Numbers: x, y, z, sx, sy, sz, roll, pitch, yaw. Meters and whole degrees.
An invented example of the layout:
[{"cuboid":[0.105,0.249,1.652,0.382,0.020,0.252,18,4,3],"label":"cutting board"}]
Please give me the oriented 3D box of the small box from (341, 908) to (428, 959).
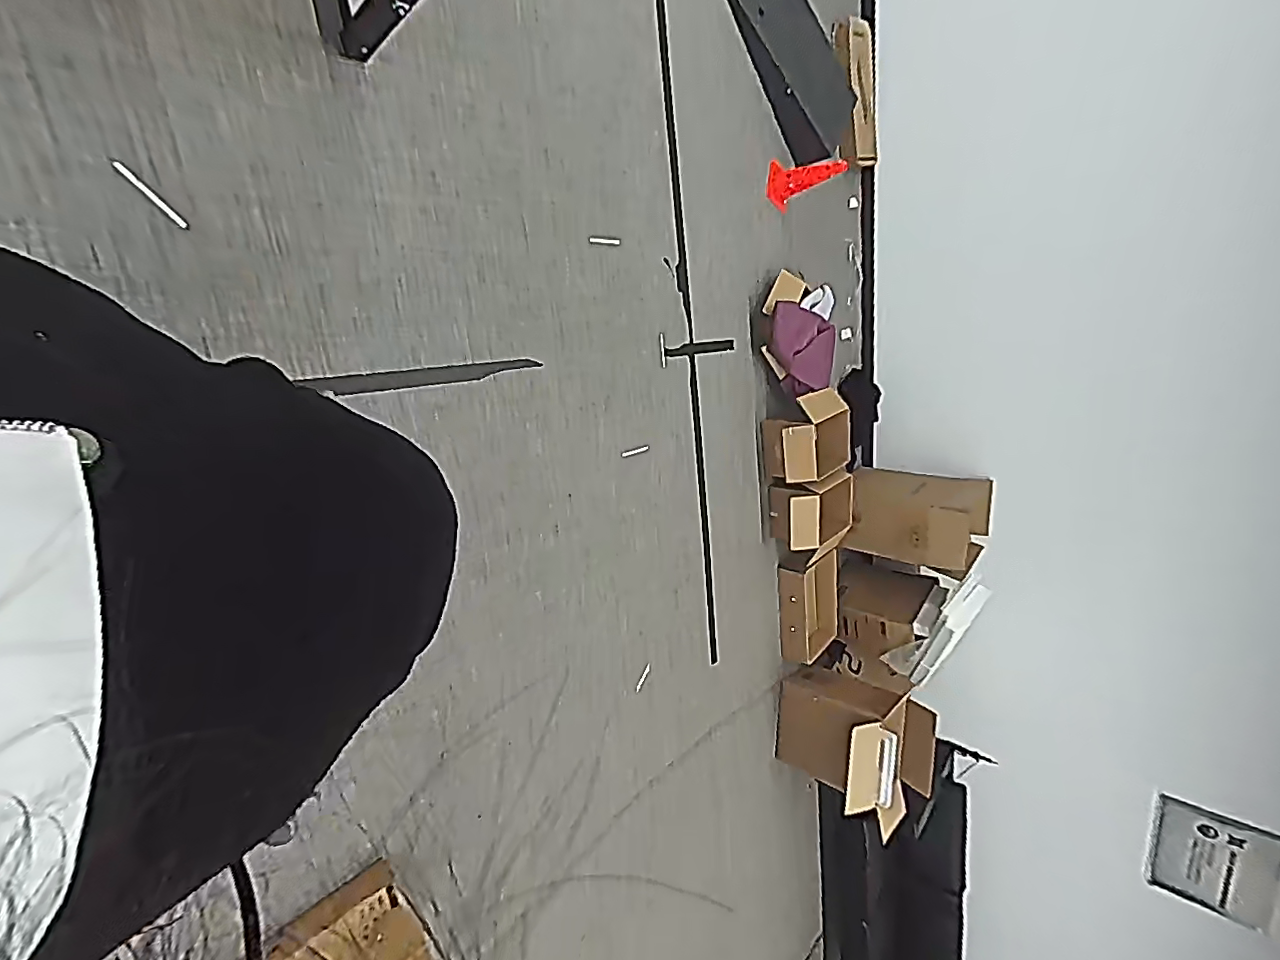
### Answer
[{"cuboid":[-0.674,1.319,1.451,0.168,0.176,0.179,-21,111,-43],"label":"small box"}]
